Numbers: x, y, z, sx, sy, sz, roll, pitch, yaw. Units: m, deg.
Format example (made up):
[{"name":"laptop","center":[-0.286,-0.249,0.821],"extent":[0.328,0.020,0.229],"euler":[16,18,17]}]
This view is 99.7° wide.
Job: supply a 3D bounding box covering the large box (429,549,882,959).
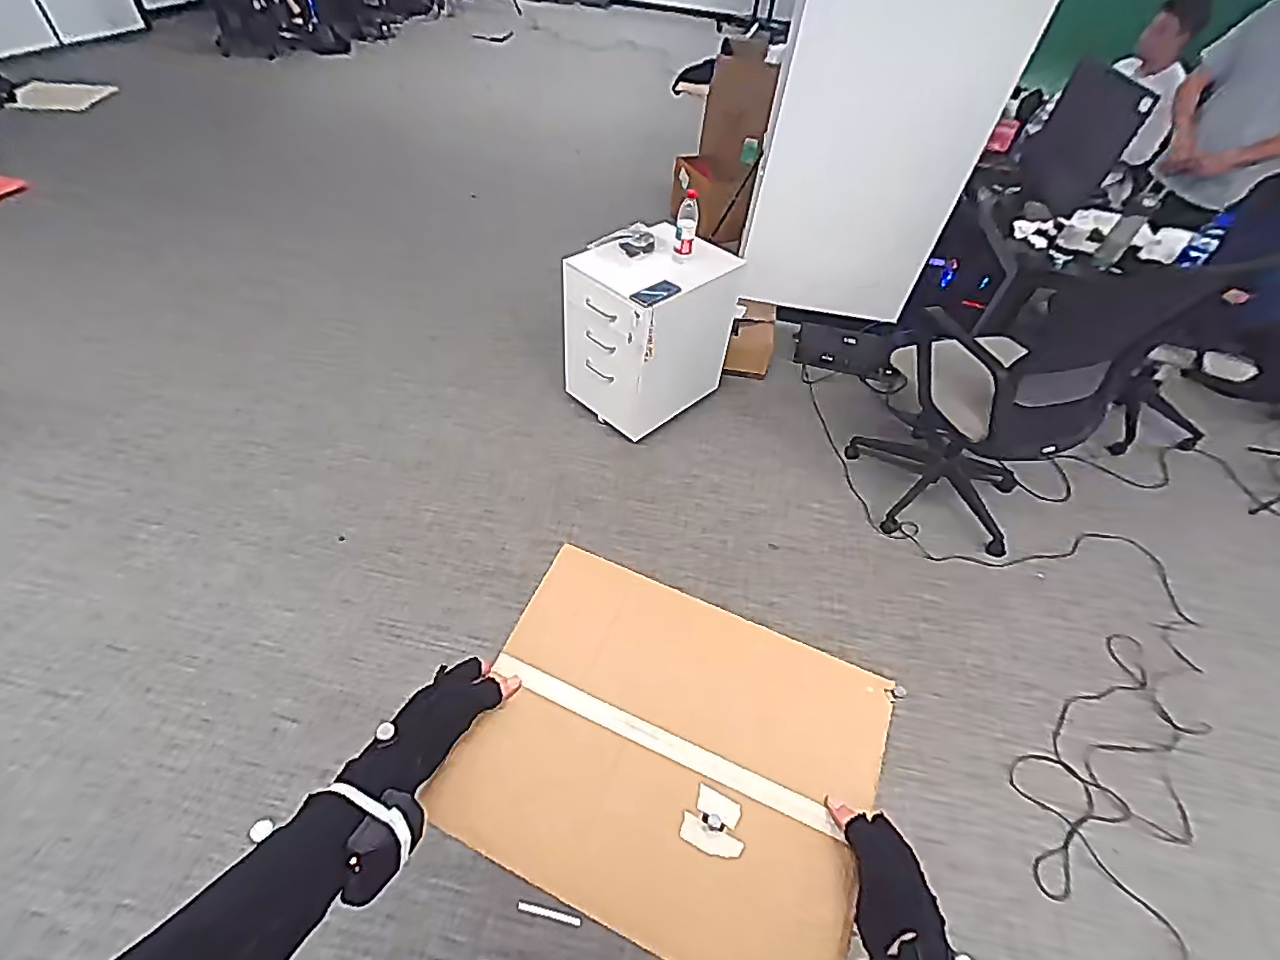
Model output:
[{"name":"large box","center":[0.025,0.347,0.692],"extent":[0.408,0.320,0.320],"euler":[21,61,11]}]
